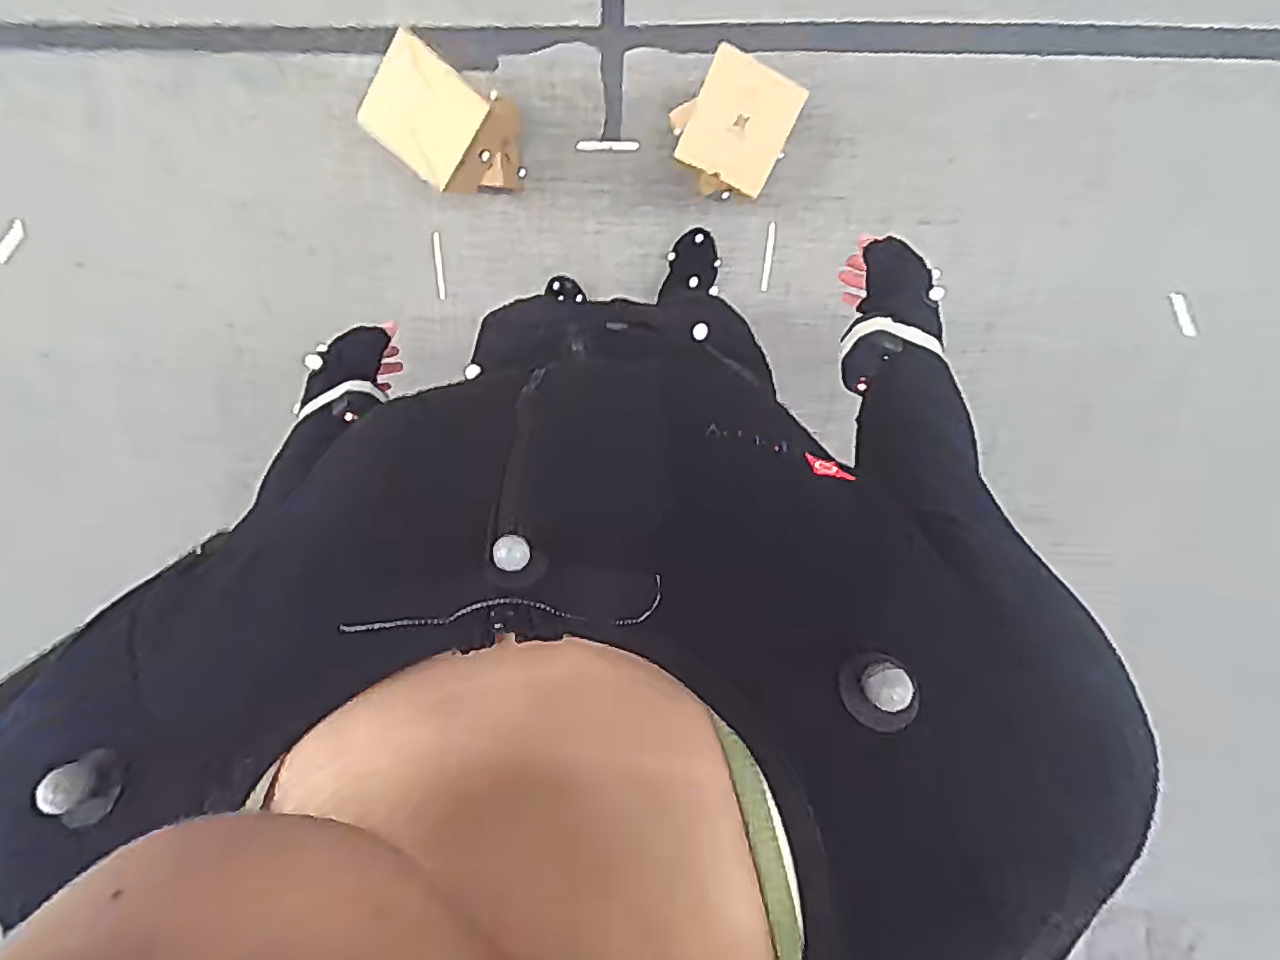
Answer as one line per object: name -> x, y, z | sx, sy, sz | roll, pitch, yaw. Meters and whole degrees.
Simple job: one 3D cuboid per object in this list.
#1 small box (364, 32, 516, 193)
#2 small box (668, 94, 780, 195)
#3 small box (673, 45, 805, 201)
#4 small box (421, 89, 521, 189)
small box -> -0.361, -0.660, 0.993 | 0.179, 0.176, 0.168 | 37, 112, -13
small box -> 0.171, -0.716, 1.129 | 0.179, 0.176, 0.168 | -25, 114, 14
small box -> 0.169, -0.634, 0.987 | 0.168, 0.176, 0.179 | 23, 114, -11
small box -> -0.355, -0.722, 1.150 | 0.179, 0.176, 0.168 | 5, 115, 1
